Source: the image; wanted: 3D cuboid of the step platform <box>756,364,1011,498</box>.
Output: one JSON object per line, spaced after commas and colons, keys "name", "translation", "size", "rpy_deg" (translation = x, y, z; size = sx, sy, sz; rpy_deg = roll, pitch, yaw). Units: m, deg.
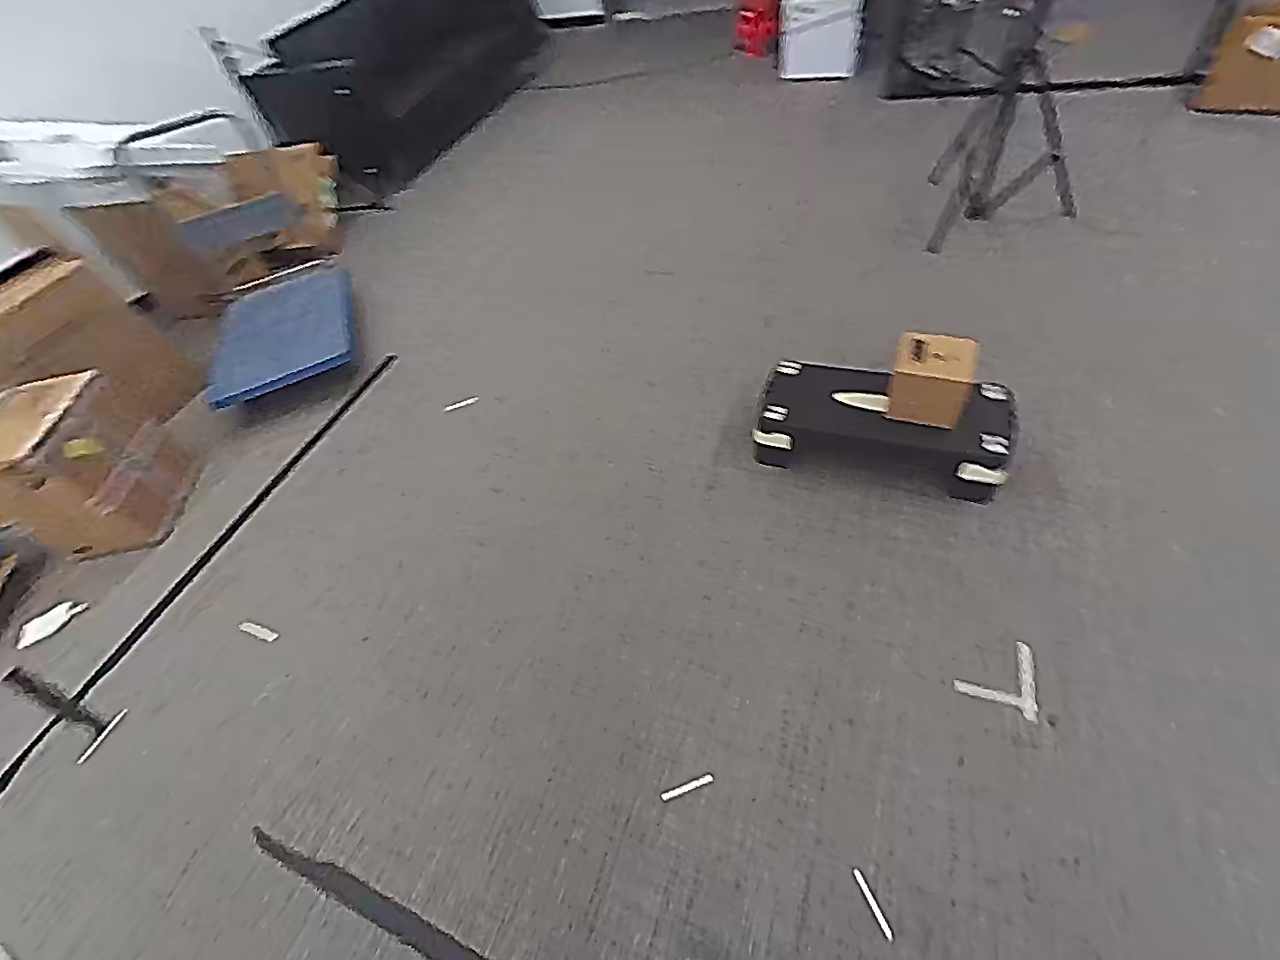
{"name": "step platform", "translation": [0.704, -0.166, 1.627], "size": [0.684, 0.204, 0.286], "rpy_deg": [10, 54, 20]}
